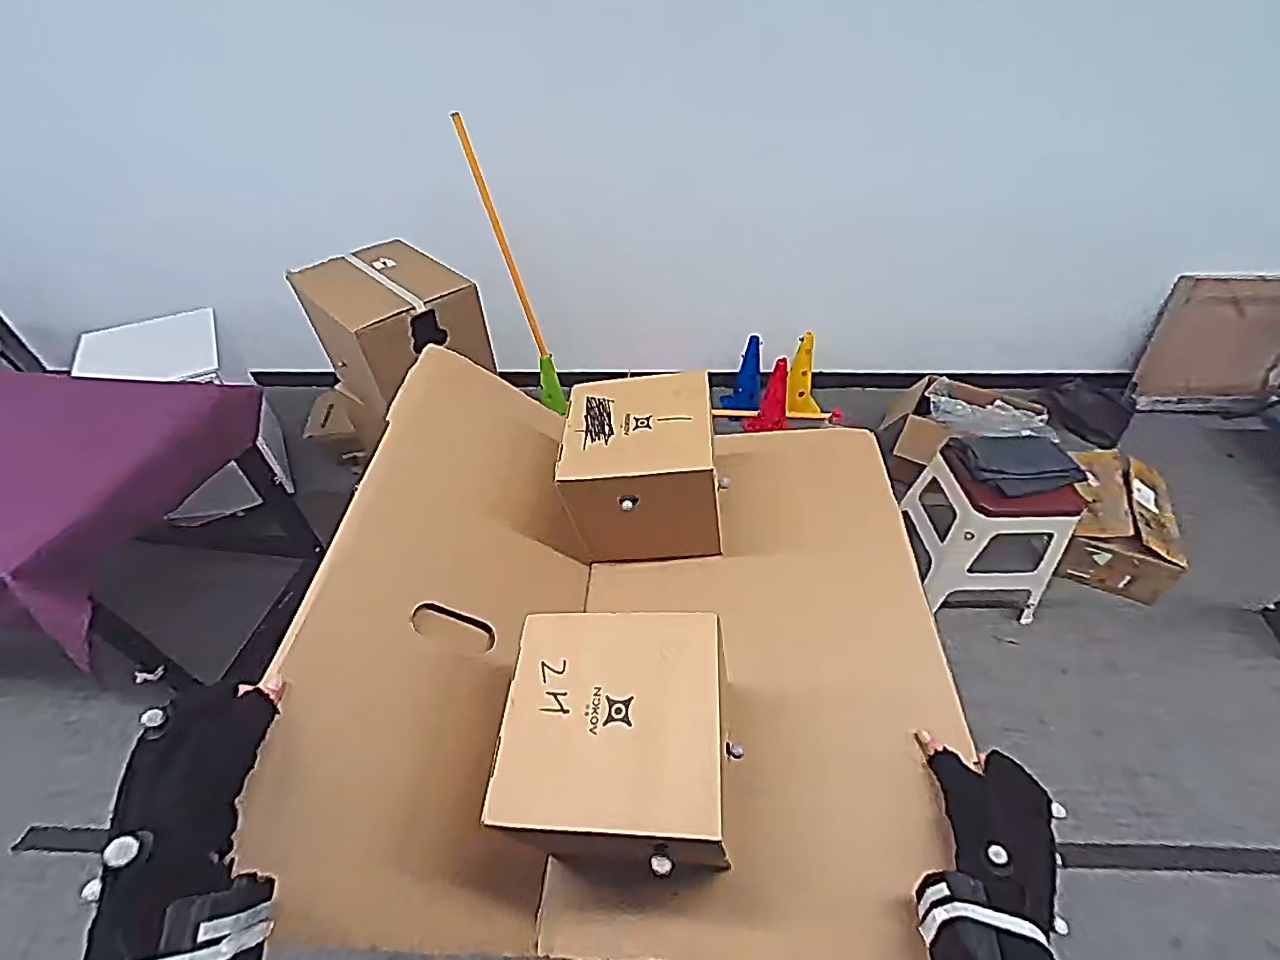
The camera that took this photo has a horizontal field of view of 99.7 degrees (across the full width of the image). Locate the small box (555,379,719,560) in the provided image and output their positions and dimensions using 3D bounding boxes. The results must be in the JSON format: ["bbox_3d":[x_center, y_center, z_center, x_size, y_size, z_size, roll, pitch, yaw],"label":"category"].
[{"bbox_3d":[0.007,-0.007,0.702,0.179,0.176,0.168,-4,49,9],"label":"small box"}]
